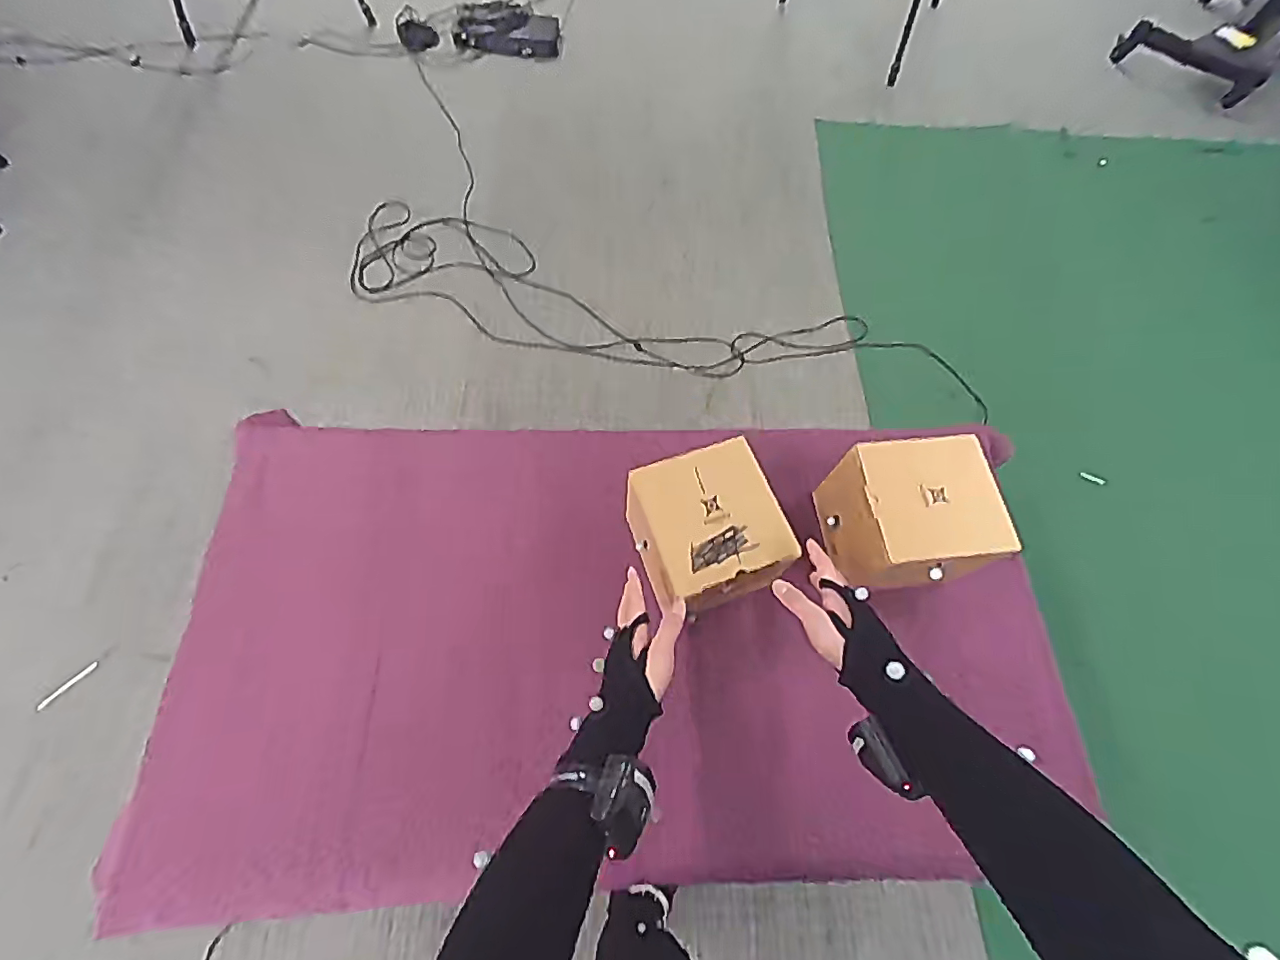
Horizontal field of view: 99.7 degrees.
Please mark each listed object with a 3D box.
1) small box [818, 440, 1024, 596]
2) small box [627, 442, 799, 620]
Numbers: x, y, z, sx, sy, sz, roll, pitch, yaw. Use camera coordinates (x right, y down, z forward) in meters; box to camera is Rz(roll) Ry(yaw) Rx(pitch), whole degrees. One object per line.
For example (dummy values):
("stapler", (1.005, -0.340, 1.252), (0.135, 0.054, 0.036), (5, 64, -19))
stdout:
("small box", (0.376, 0.059, 0.759), (0.179, 0.176, 0.168), (-6, 66, -3))
("small box", (0.087, 0.080, 0.738), (0.168, 0.176, 0.179), (-18, 67, -10))
